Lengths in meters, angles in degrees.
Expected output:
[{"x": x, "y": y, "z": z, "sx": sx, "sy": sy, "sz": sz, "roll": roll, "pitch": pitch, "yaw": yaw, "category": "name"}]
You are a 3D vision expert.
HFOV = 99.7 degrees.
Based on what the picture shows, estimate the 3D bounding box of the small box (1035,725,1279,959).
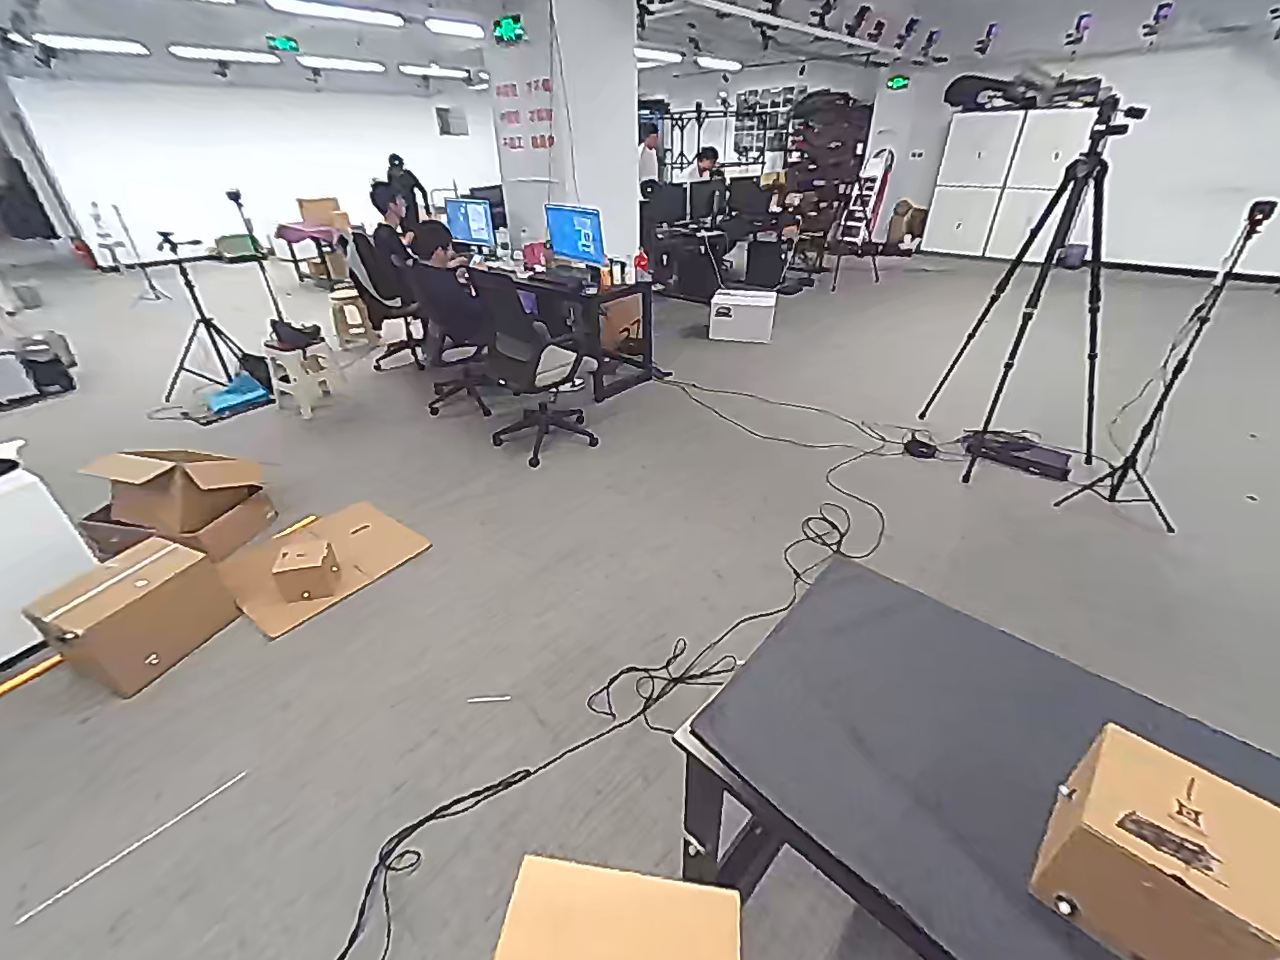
[{"x": 0.600, "y": 0.444, "z": 0.636, "sx": 0.168, "sy": 0.176, "sz": 0.179, "roll": 27, "pitch": 40, "yaw": 37, "category": "small box"}]

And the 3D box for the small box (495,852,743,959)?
[{"x": -0.022, "y": 0.403, "z": 0.371, "sx": 0.168, "sy": 0.176, "sz": 0.179, "roll": 6, "pitch": 31, "yaw": 6, "category": "small box"}]
